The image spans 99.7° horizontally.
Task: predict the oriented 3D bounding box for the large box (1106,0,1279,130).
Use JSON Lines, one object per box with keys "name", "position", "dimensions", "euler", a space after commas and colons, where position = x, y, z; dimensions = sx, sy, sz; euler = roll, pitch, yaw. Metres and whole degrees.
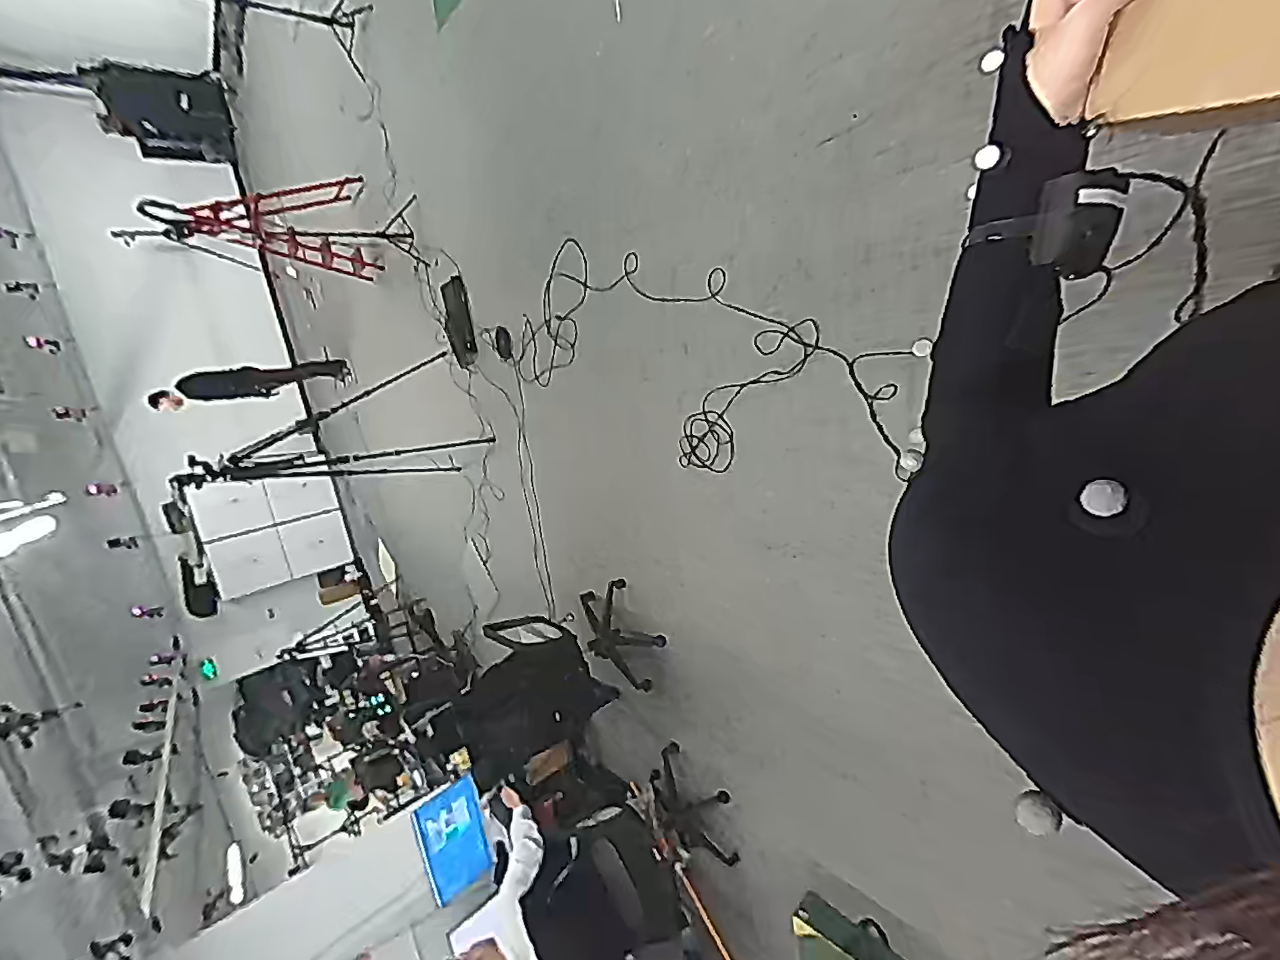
{"name": "large box", "position": [0.552, -0.400, 0.271], "dimensions": [0.408, 0.320, 0.320], "euler": [20, 126, 43]}
